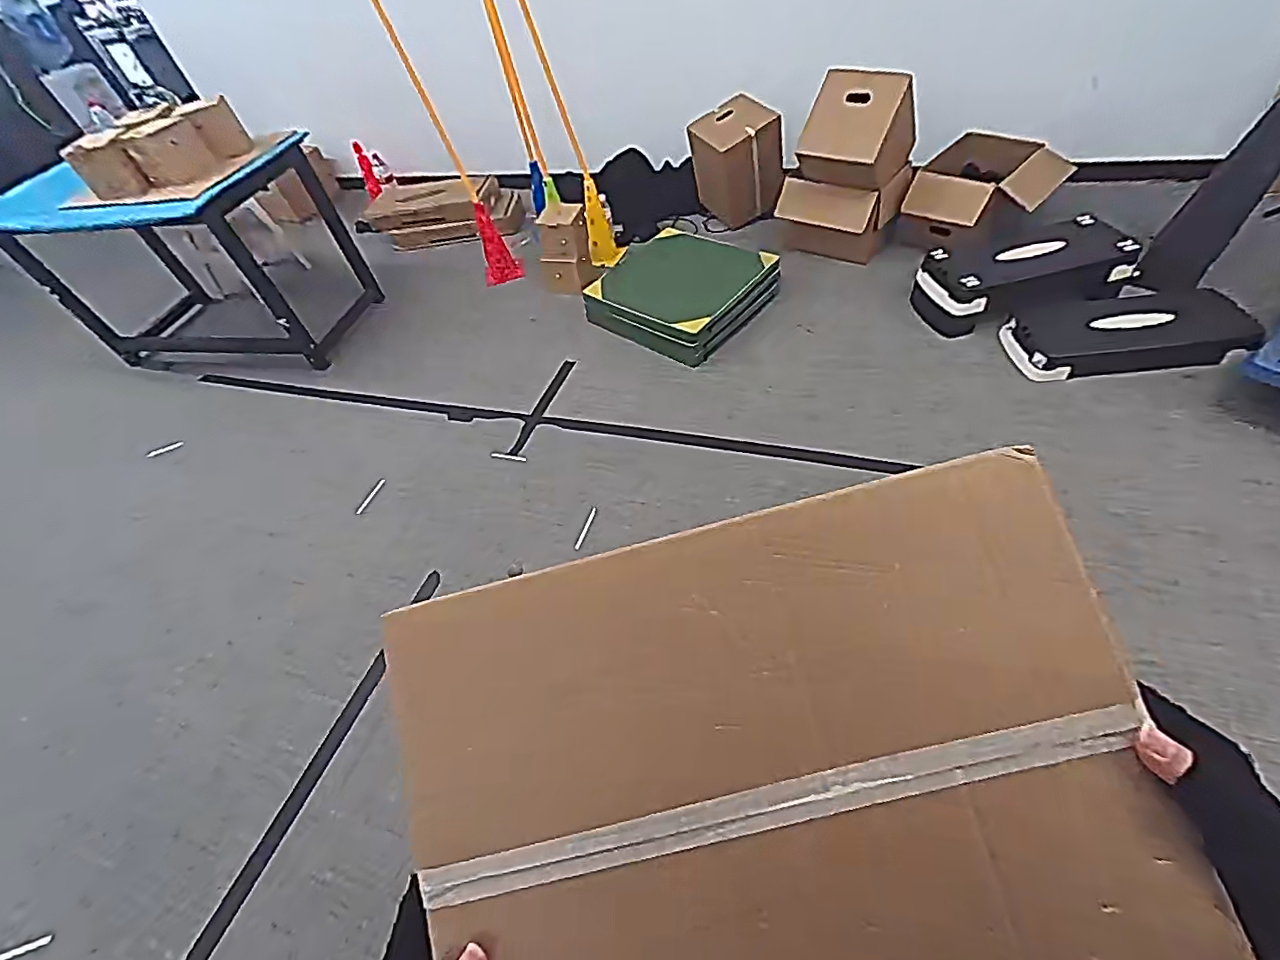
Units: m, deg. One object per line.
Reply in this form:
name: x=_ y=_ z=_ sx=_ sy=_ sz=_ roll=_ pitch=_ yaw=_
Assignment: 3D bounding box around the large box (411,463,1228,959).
large box: x=0.093 y=0.214 z=0.453 sx=0.408 sy=0.320 sz=0.320 roll=-15 pitch=79 yaw=4
